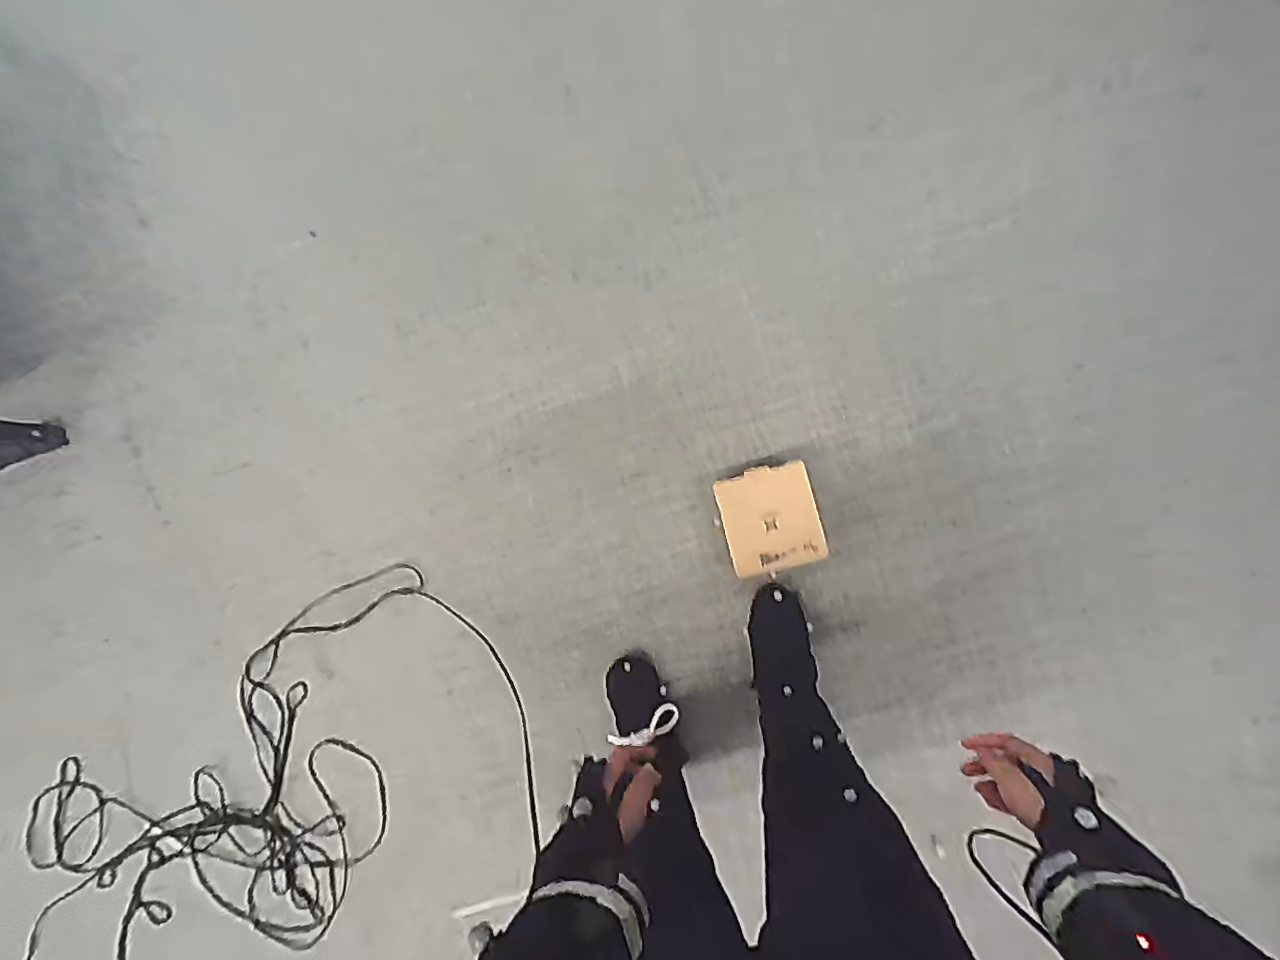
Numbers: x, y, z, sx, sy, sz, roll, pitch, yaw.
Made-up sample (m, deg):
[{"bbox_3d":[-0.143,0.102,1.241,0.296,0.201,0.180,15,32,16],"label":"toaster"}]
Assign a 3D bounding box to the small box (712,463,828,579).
[{"bbox_3d":[0.236,0.078,1.024,0.168,0.176,0.179,-15,86,6],"label":"small box"}]
